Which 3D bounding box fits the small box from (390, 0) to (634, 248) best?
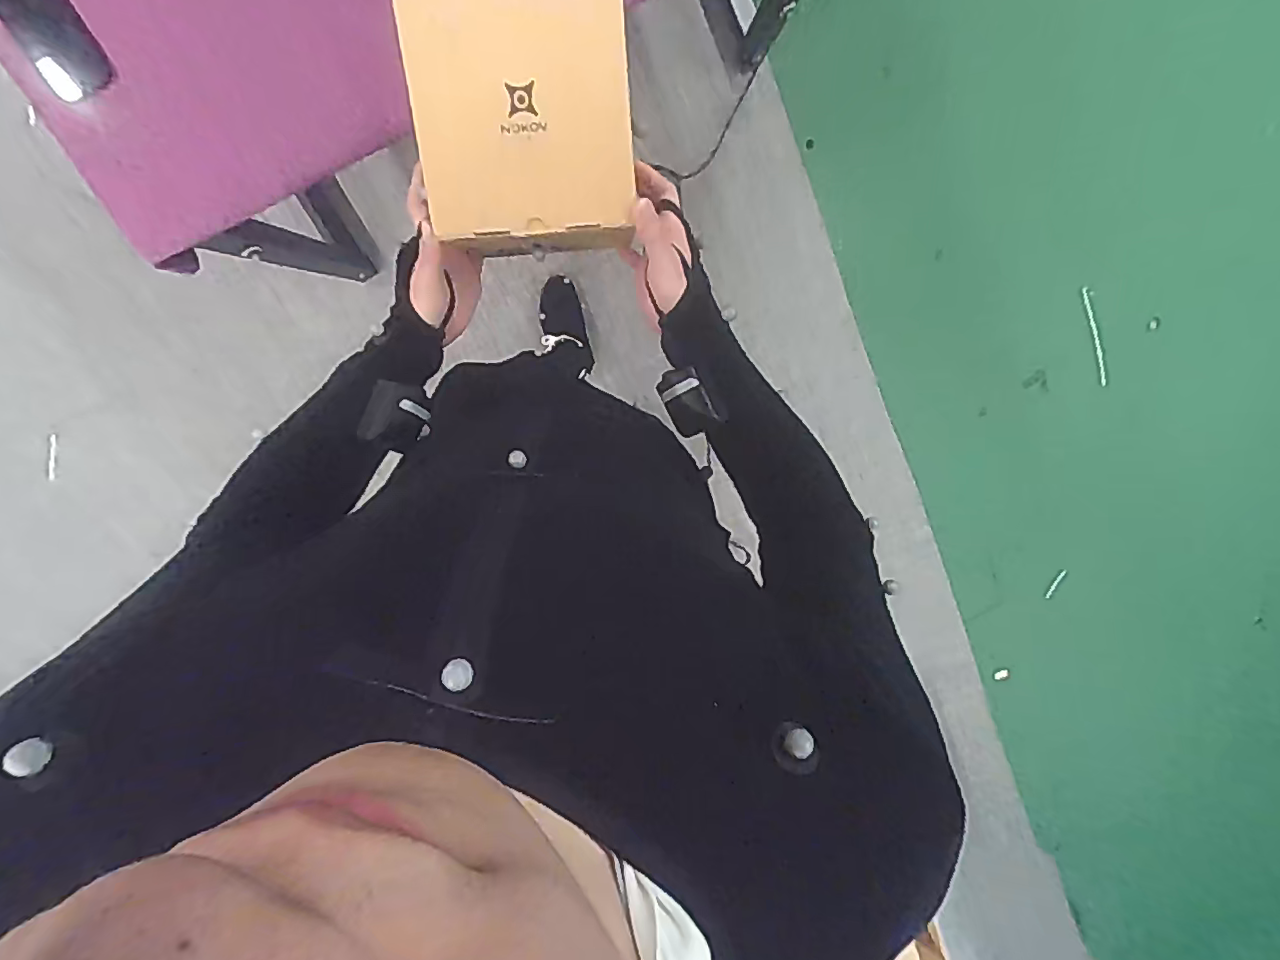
[{"bbox_3d":[-0.097,-0.313,0.481,0.168,0.176,0.179,-5,110,-1],"label":"small box"}]
